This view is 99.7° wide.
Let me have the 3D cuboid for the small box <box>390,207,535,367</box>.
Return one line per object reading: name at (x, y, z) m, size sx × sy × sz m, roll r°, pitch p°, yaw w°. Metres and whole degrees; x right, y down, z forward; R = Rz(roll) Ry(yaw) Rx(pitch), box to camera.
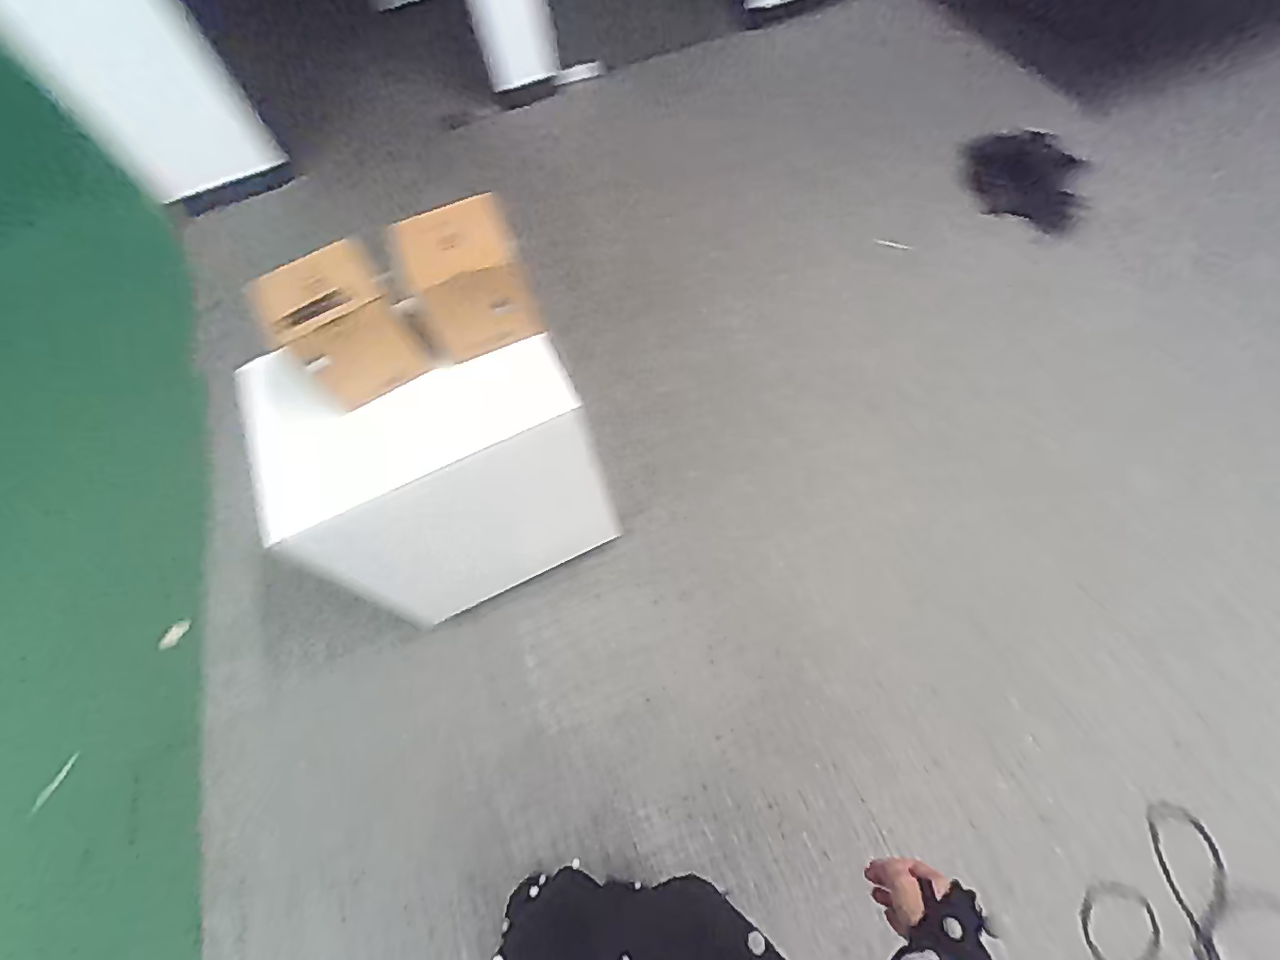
small box at (-0.294, -0.317, 0.920) m, size 0.168 × 0.176 × 0.179 m, roll -22°, pitch 61°, yaw -6°
